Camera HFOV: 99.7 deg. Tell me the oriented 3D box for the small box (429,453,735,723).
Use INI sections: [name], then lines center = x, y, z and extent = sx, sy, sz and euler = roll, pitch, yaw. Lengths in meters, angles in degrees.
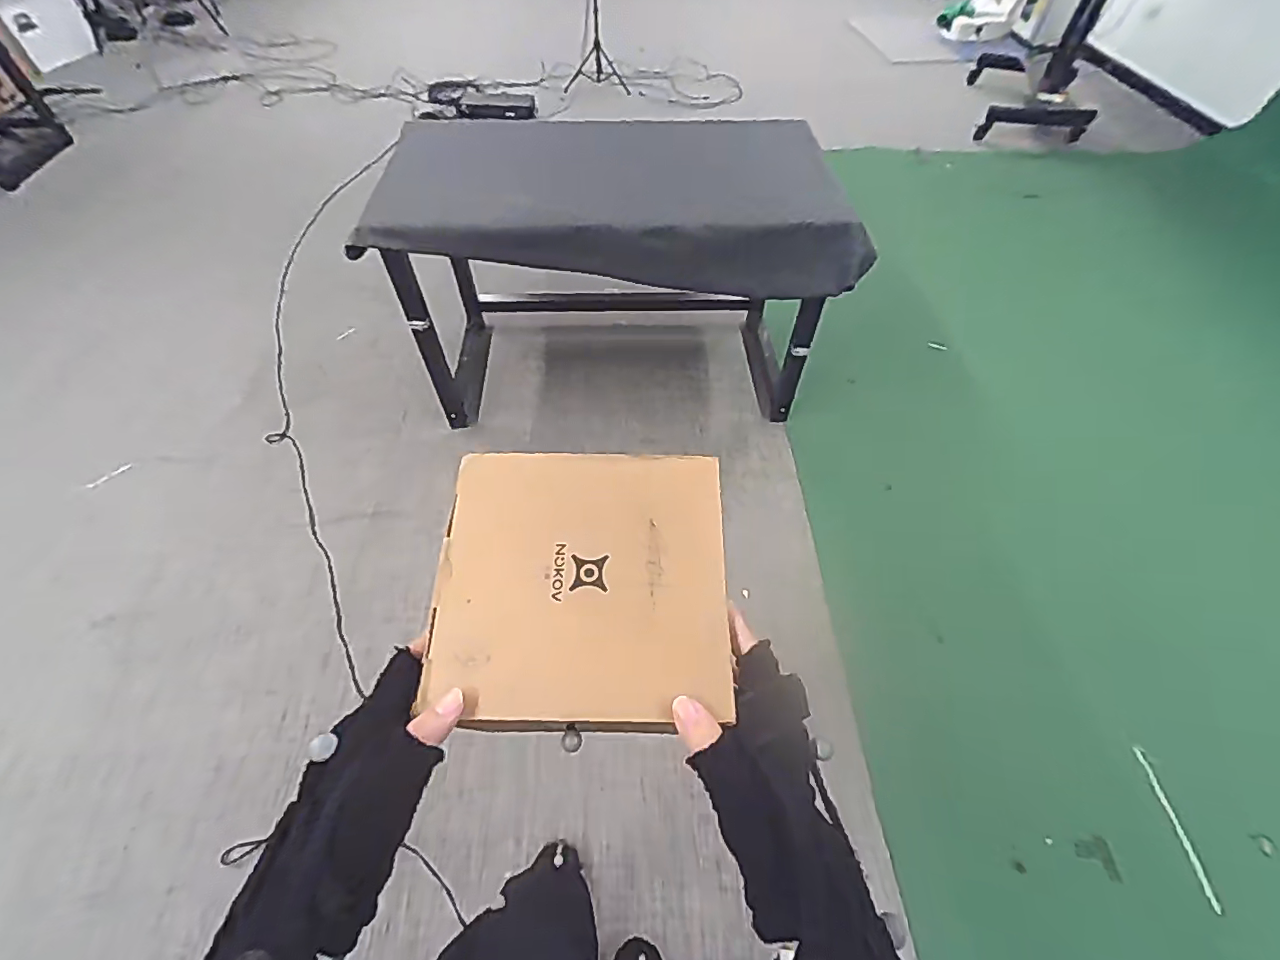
[small box]
center = -0.034, 0.091, 0.408
extent = 0.179, 0.176, 0.168
euler = 0, 65, -2
